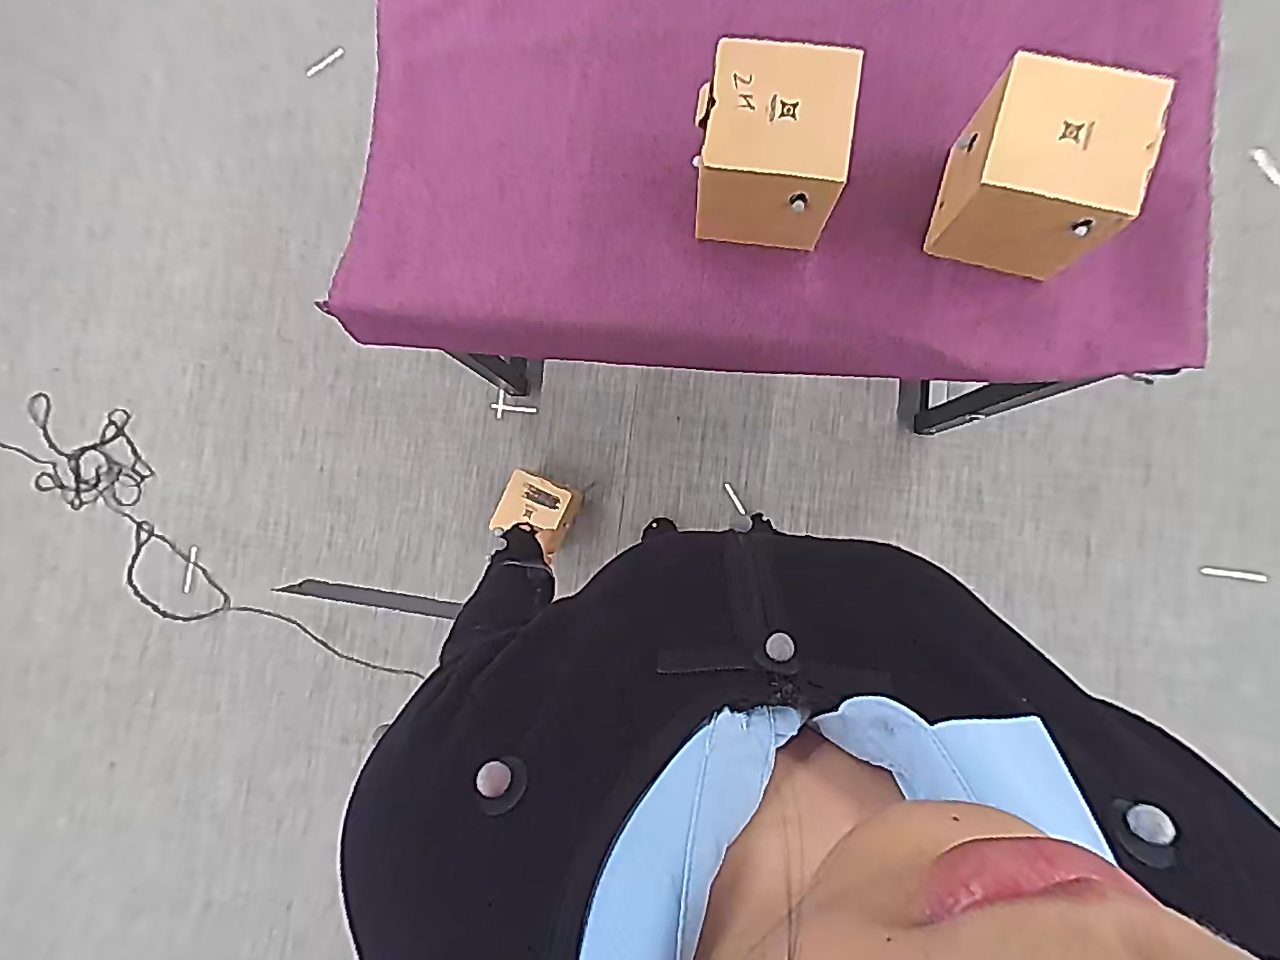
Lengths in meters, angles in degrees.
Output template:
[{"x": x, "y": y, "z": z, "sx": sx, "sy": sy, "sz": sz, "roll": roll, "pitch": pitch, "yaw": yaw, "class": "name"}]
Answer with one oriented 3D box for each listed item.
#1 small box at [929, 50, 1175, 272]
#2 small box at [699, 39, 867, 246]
[{"x": 0.504, "y": -0.391, "z": 0.692, "sx": 0.179, "sy": 0.176, "sz": 0.168, "roll": 16, "pitch": 88, "yaw": 6, "class": "small box"}, {"x": 0.178, "y": -0.435, "z": 0.723, "sx": 0.179, "sy": 0.176, "sz": 0.168, "roll": 8, "pitch": 86, "yaw": 5, "class": "small box"}]
